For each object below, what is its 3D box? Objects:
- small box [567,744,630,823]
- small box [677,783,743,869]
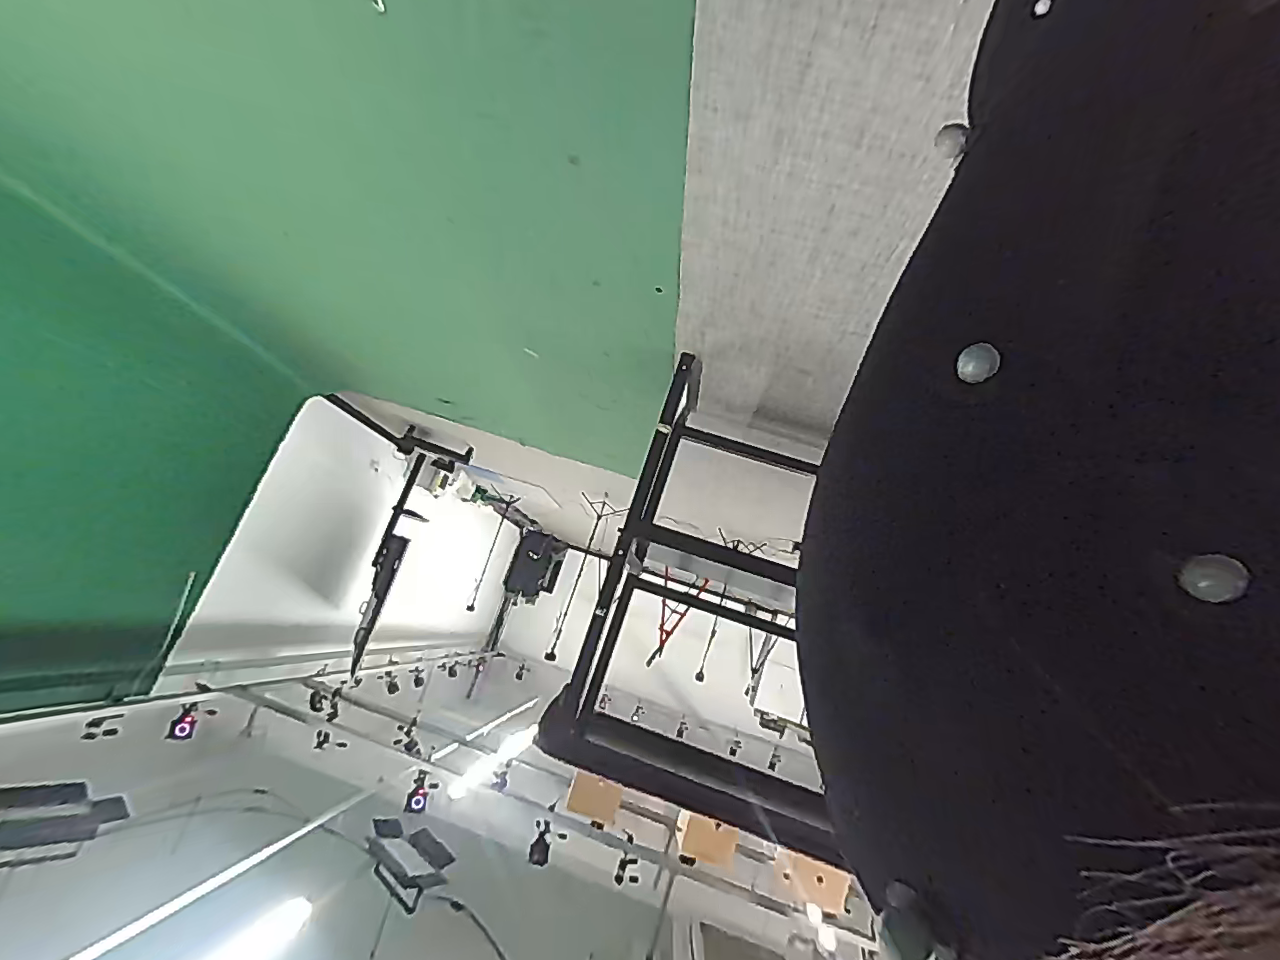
[{"bbox_3d":[-0.136,1.019,1.834,0.168,0.176,0.179,18,166,3],"label":"small box"},{"bbox_3d":[0.231,1.133,1.791,0.168,0.176,0.179,18,167,4],"label":"small box"}]
